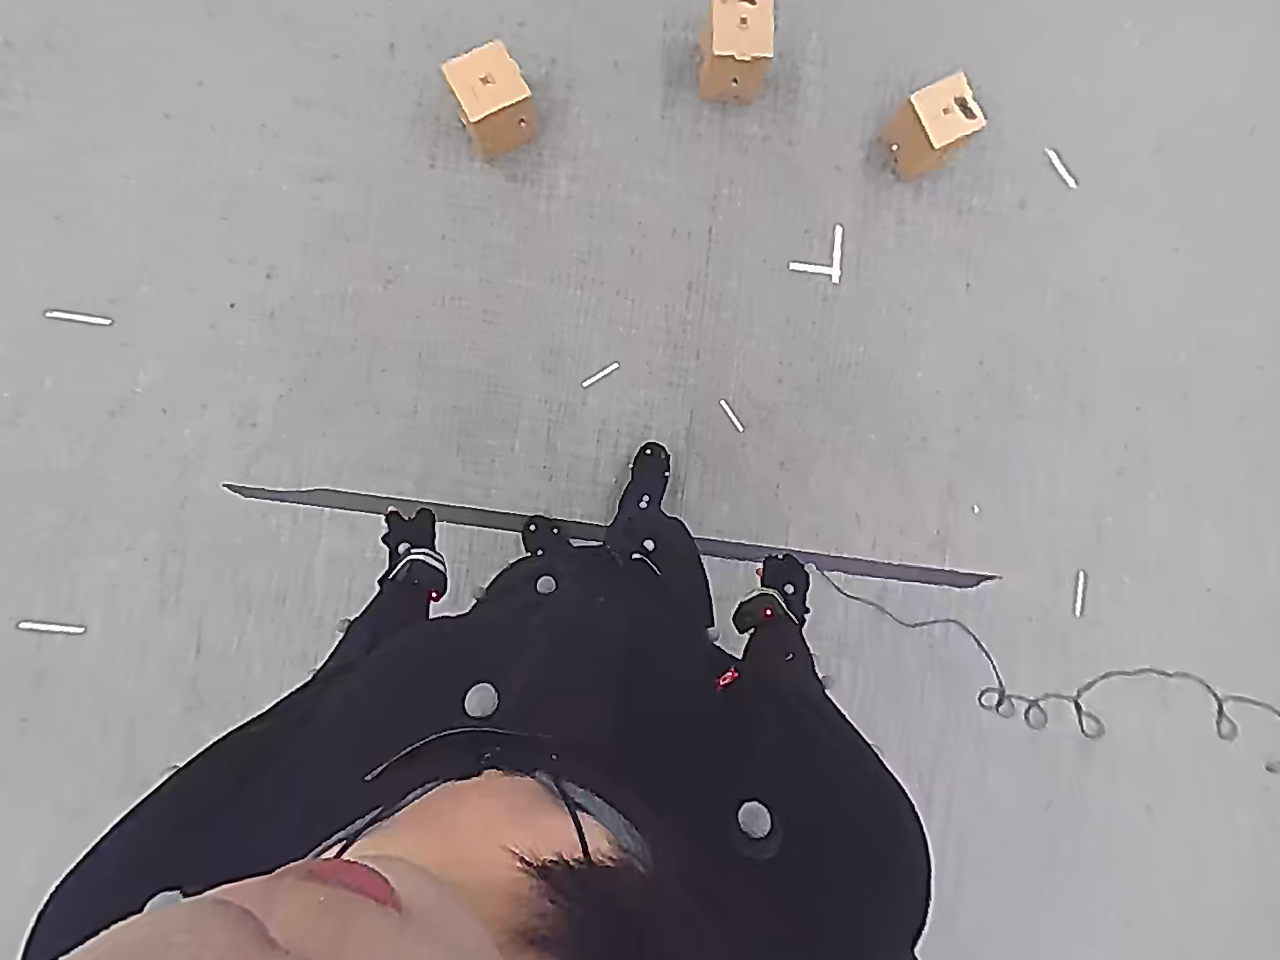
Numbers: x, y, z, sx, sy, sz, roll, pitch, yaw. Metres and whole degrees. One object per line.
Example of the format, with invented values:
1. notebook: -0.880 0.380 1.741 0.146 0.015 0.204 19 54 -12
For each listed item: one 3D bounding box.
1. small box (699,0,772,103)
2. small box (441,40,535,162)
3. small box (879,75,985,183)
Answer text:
1. small box: 0.261 -1.193 1.506 0.168 0.176 0.179 0 90 -6
2. small box: -0.393 -0.998 1.438 0.179 0.176 0.168 -30 91 -5
3. small box: 0.835 -1.004 1.560 0.179 0.176 0.168 -27 92 -5
